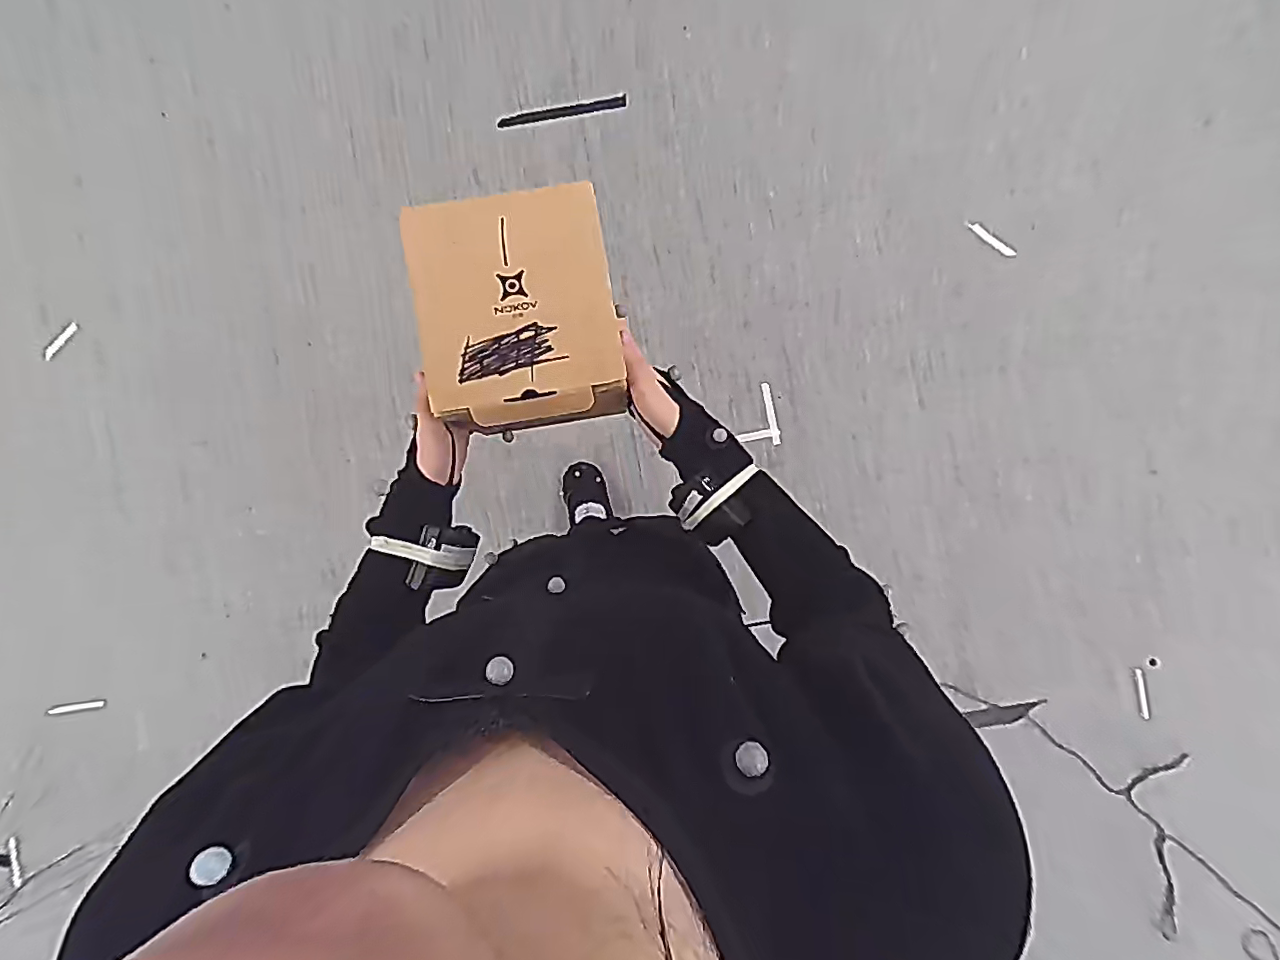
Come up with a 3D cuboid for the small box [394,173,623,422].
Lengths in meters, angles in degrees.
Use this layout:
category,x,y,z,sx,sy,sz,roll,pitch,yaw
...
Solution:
category,x,y,z,sx,sy,sz,roll,pitch,yaw
small box,-0.110,-0.156,0.525,0.168,0.176,0.179,-10,89,-1
